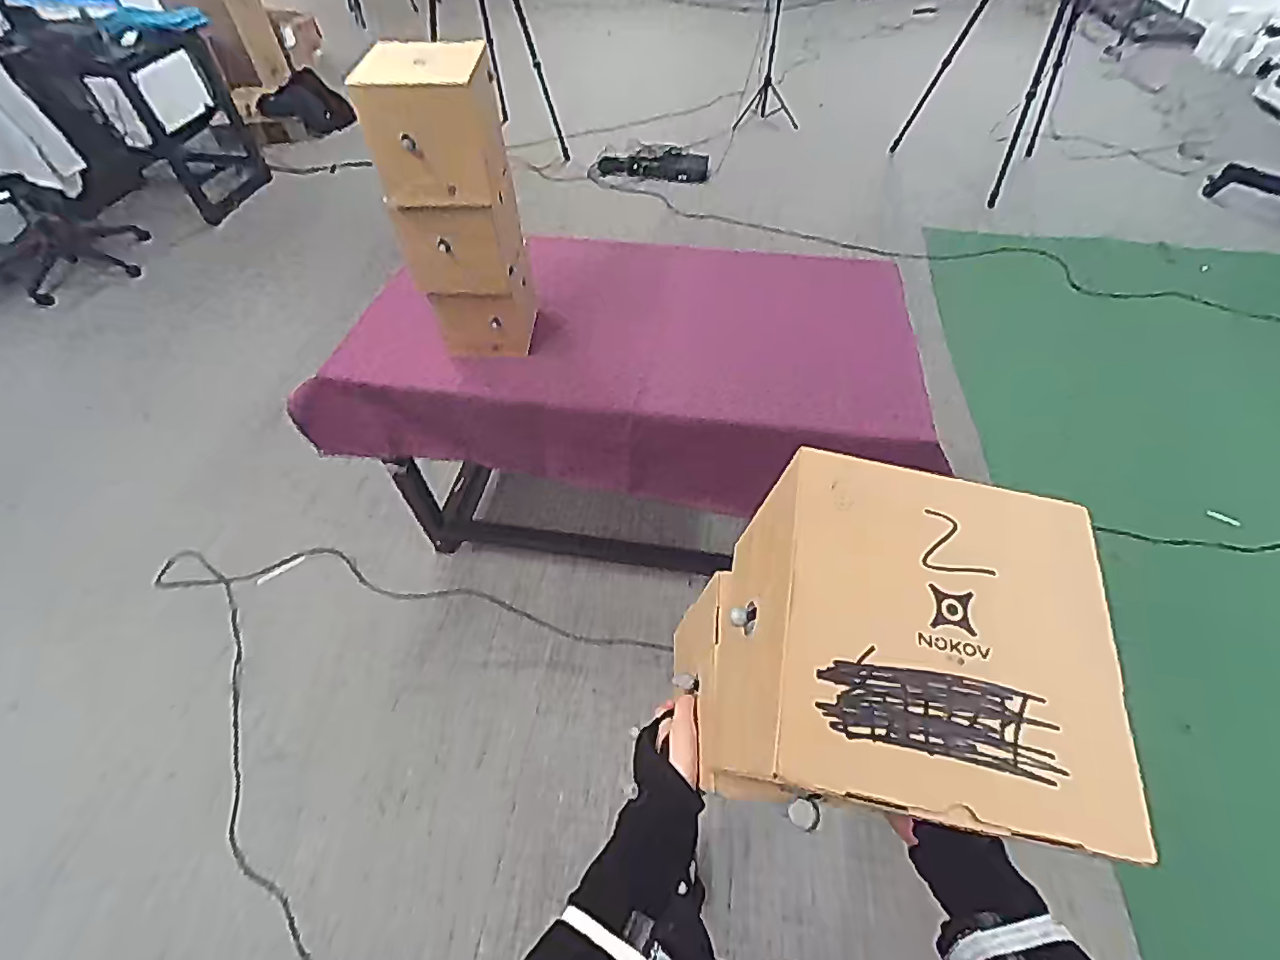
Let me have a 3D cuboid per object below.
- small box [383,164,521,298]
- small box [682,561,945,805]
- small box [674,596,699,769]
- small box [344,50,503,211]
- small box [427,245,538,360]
[{"bbox_3d":[-0.321,-0.443,0.970,0.179,0.176,0.168,1,52,2],"label":"small box"},{"bbox_3d":[0.134,0.183,0.487,0.179,0.176,0.168,6,64,0],"label":"small box"},{"bbox_3d":[0.129,0.247,0.639,0.168,0.176,0.179,3,64,-1],"label":"small box"},{"bbox_3d":[-0.317,-0.534,0.835,0.168,0.176,0.179,-2,52,-1],"label":"small box"},{"bbox_3d":[-0.313,-0.363,1.115,0.168,0.176,0.179,1,51,2],"label":"small box"}]
